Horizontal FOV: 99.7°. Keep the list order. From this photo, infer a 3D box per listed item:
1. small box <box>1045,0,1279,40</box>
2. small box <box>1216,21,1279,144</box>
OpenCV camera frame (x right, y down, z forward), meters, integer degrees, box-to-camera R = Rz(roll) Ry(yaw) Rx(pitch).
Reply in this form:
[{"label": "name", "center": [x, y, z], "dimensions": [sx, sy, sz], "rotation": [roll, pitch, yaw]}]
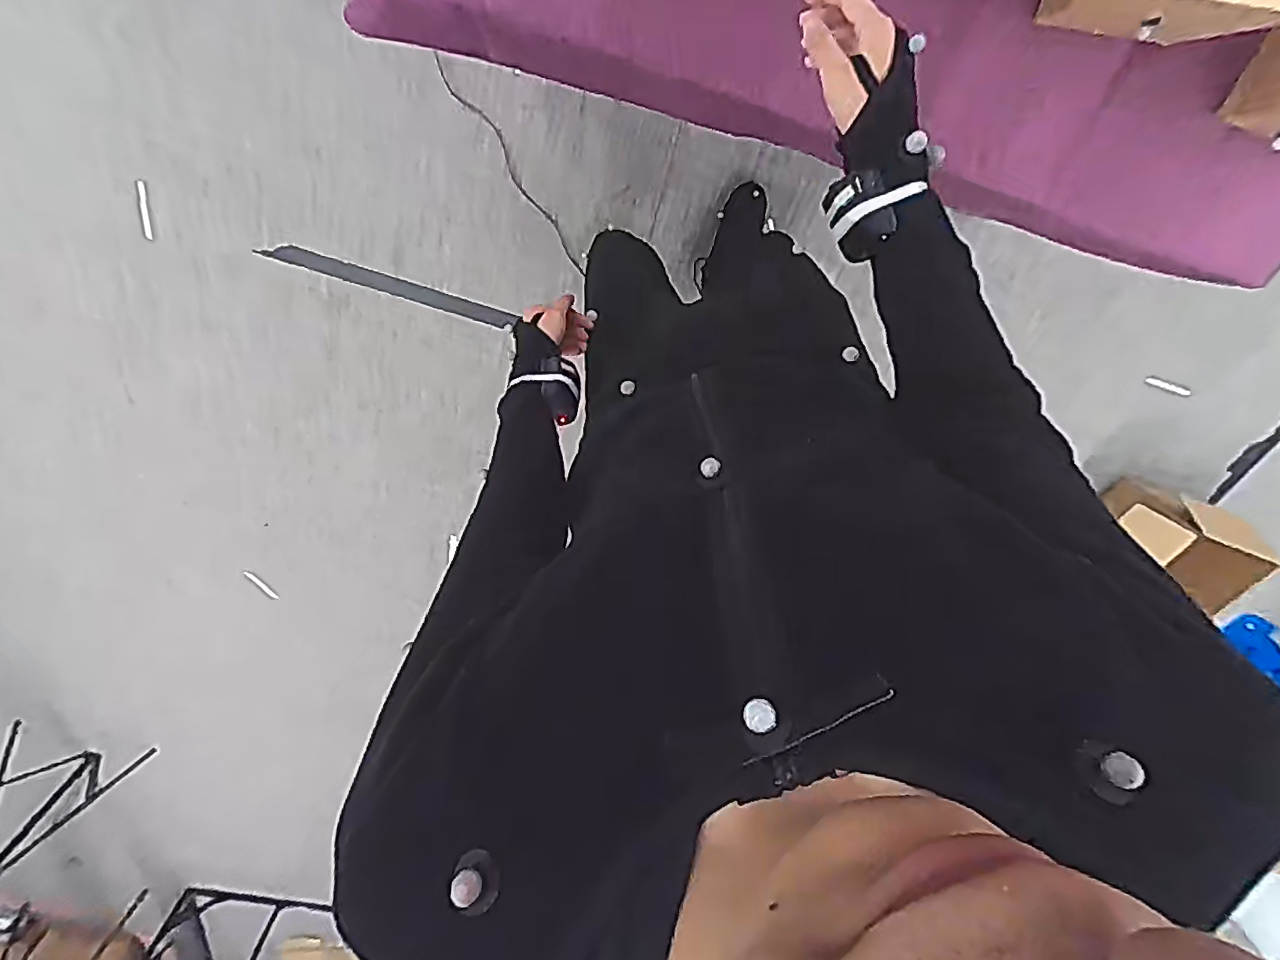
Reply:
[{"label": "small box", "center": [0.529, -0.539, 0.503], "dimensions": [0.168, 0.176, 0.179], "rotation": [6, 122, -4]}, {"label": "small box", "center": [0.783, -0.455, 0.554], "dimensions": [0.168, 0.176, 0.179], "rotation": [12, 121, -5]}]
